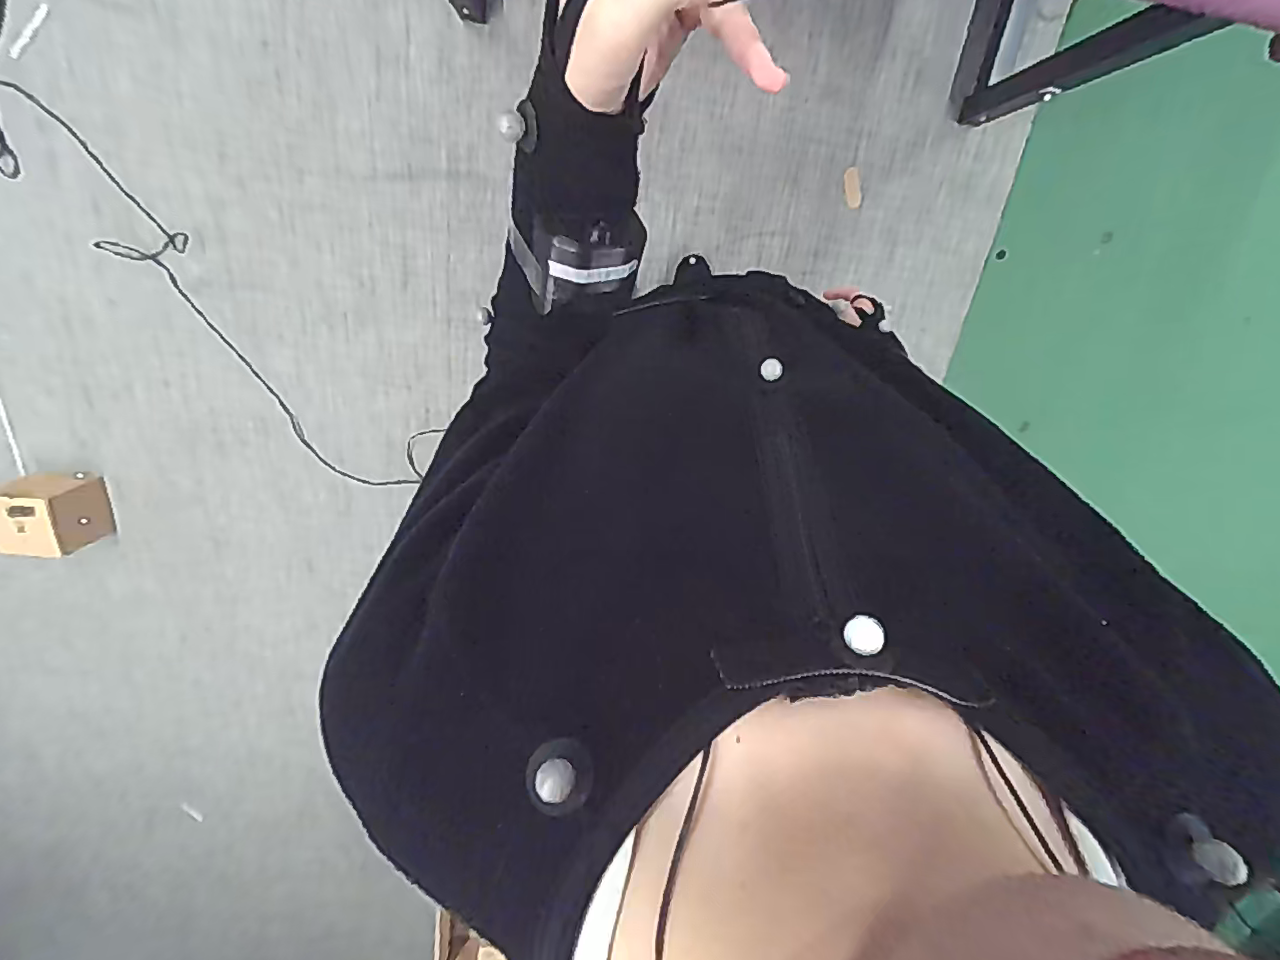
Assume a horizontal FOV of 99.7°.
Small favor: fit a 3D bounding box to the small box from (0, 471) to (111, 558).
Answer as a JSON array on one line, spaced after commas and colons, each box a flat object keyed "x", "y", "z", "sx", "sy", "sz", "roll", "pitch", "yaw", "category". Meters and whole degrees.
[{"x": -1.600, "y": 0.086, "z": 1.461, "sx": 0.168, "sy": 0.176, "sz": 0.179, "roll": 6, "pitch": 112, "yaw": -3, "category": "small box"}]
